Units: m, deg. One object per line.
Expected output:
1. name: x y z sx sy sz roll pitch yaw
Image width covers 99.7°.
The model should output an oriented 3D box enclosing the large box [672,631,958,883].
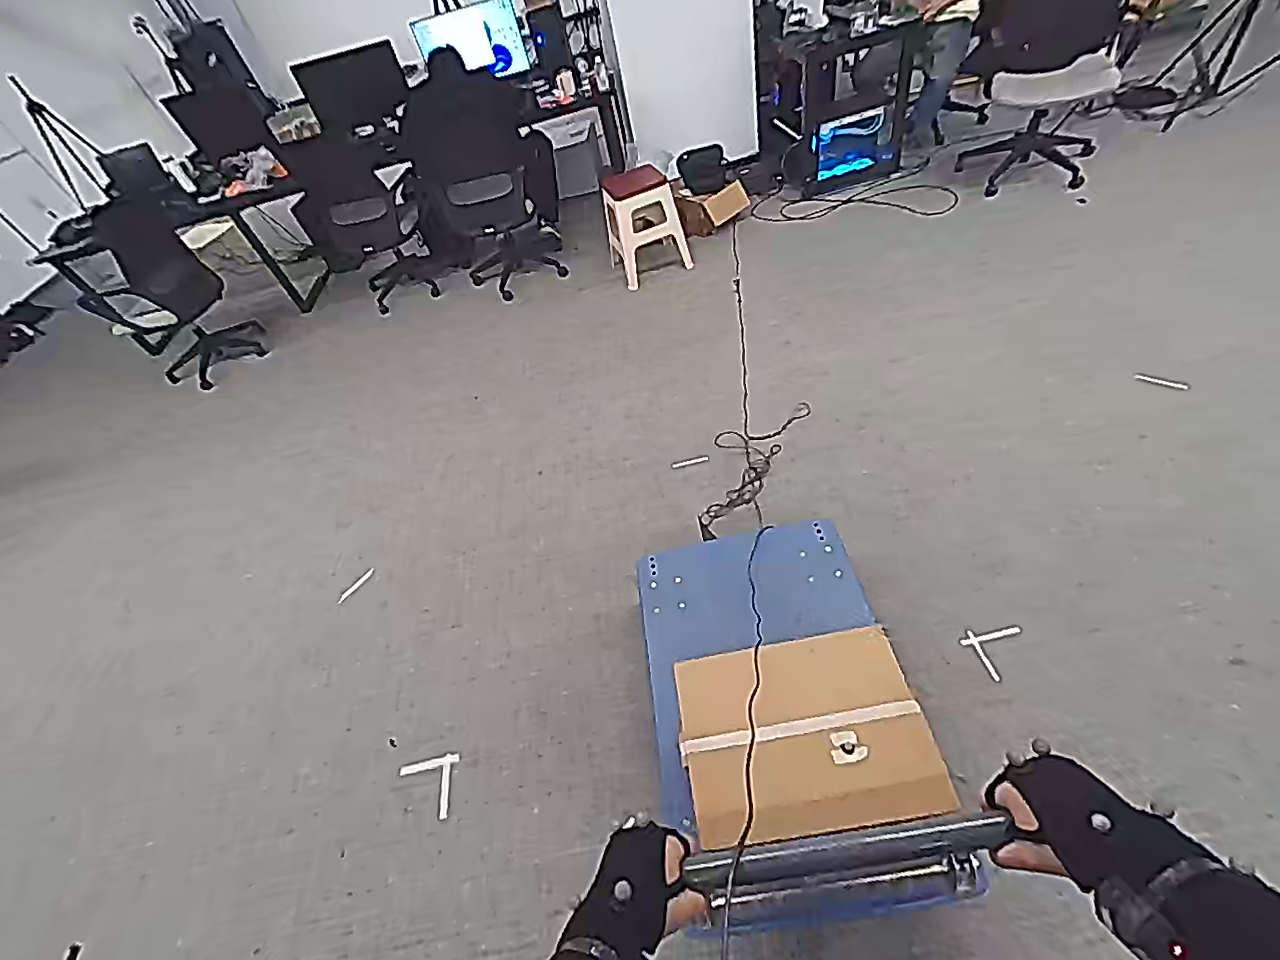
1. large box: 0.299 0.534 1.032 0.408 0.320 0.320 -12 48 4
